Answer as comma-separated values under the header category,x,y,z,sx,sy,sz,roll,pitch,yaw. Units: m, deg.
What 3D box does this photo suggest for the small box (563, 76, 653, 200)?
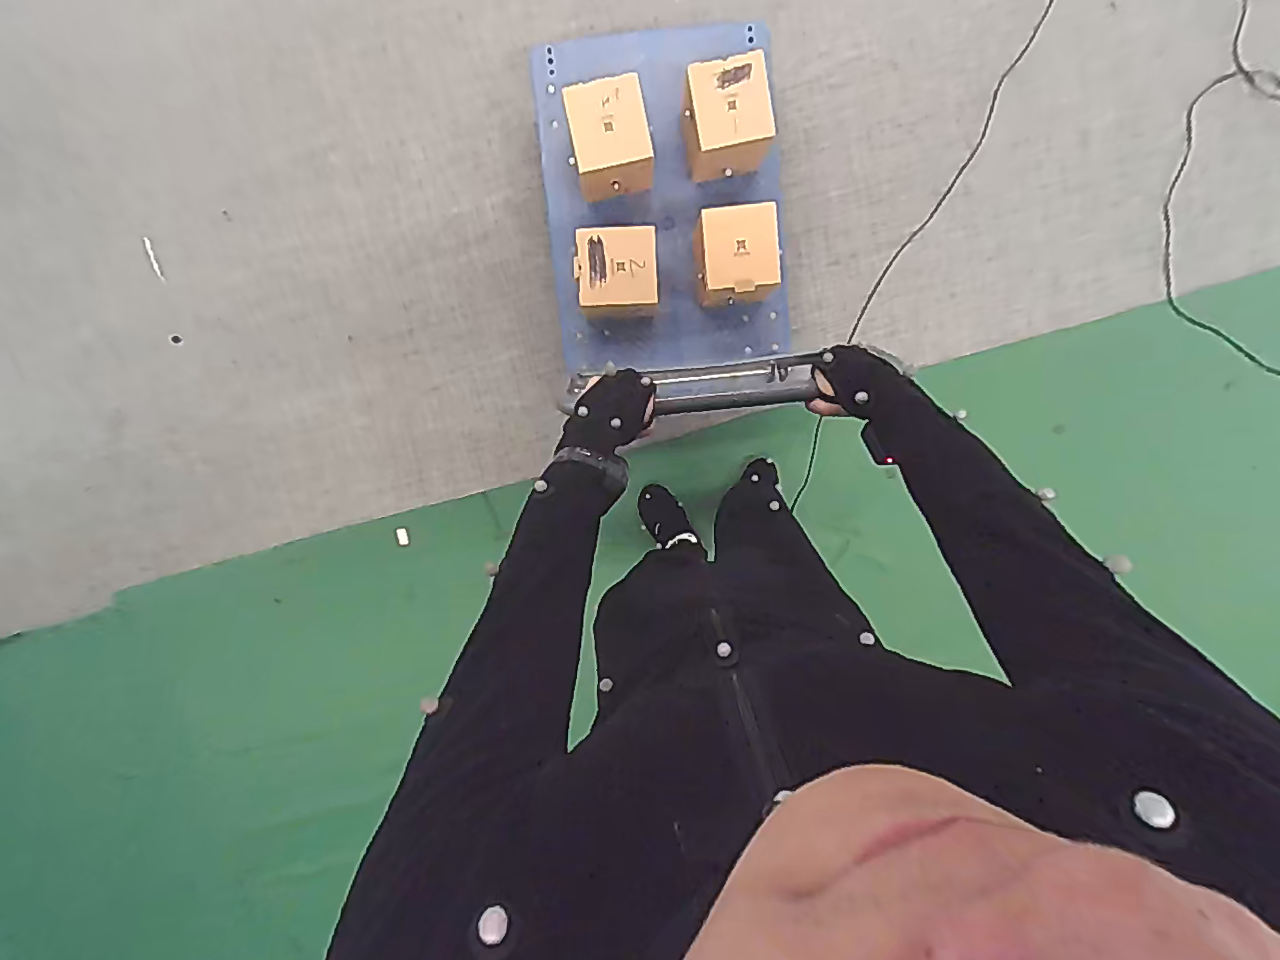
category,x,y,z,sx,sy,sz,roll,pitch,yaw
small box,-0.068,-0.762,1.228,0.168,0.176,0.179,-12,97,0

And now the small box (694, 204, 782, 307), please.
category,x,y,z,sx,sy,sz,roll,pitch,yaw
small box,0.223,-0.517,1.263,0.168,0.176,0.179,-6,98,0

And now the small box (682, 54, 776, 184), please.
category,x,y,z,sx,sy,sz,roll,pitch,yaw
small box,0.195,-0.810,1.227,0.168,0.176,0.179,-11,98,1
